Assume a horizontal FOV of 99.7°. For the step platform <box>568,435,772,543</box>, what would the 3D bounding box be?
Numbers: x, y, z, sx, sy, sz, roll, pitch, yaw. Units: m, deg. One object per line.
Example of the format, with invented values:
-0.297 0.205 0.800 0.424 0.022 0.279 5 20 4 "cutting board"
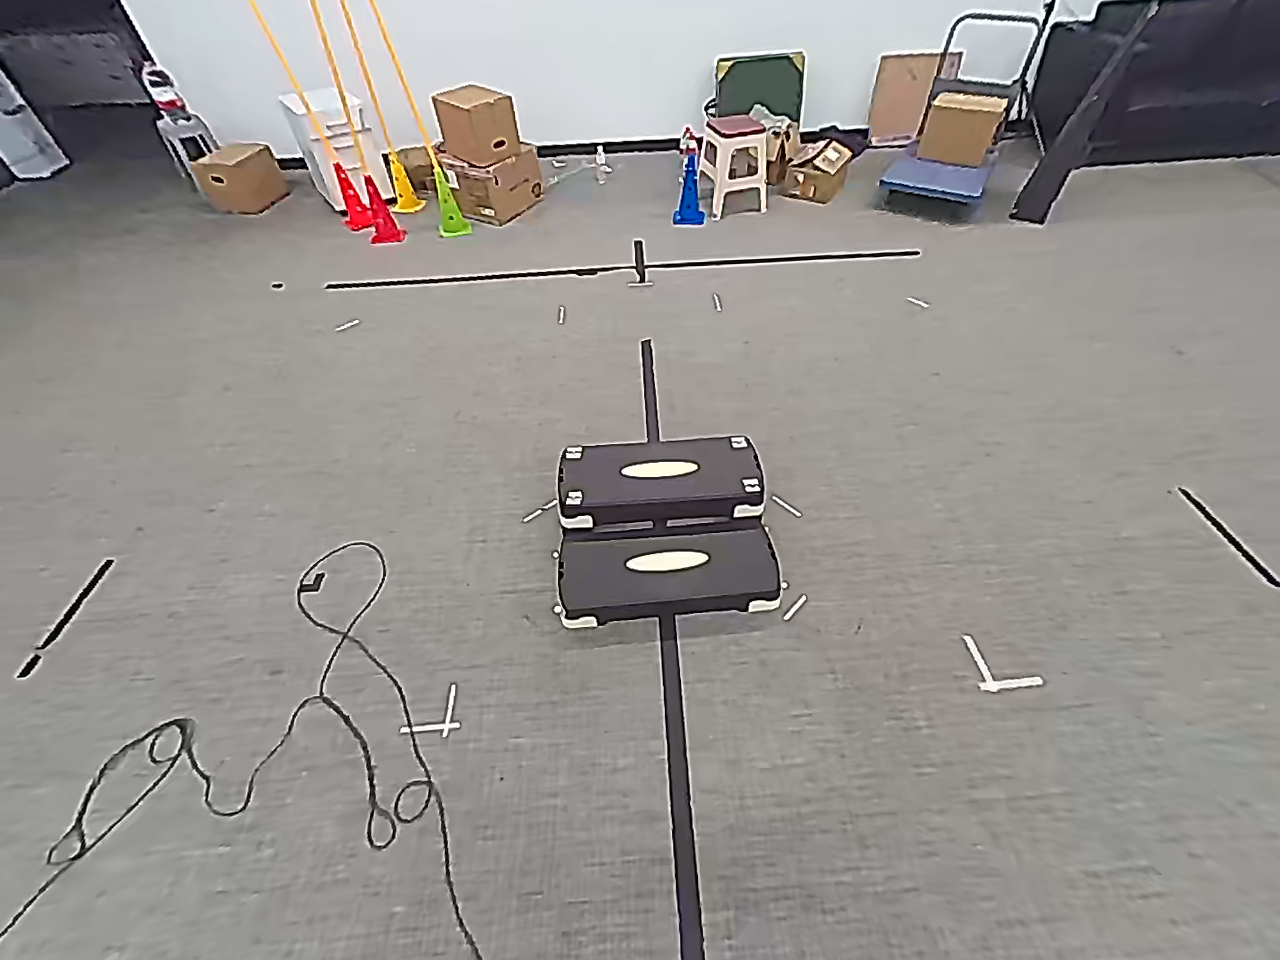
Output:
0.097 0.023 1.840 0.684 0.204 0.286 -4 48 -3 "step platform"
